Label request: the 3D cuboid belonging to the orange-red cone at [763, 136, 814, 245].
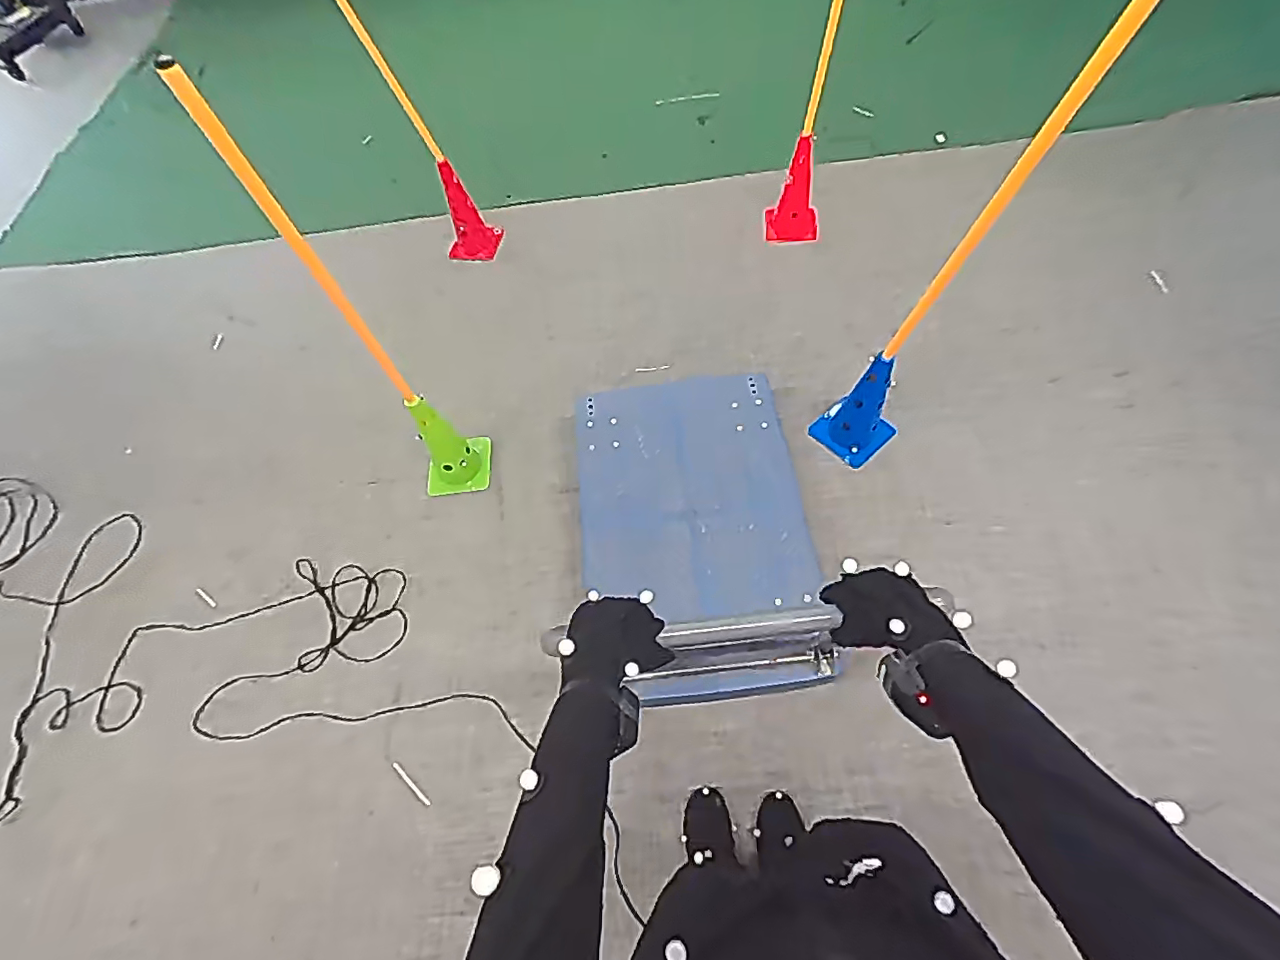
[{"bbox_3d":[0.577,-1.085,2.008,0.198,0.360,0.199,3,63,8],"label":"orange-red cone"}]
